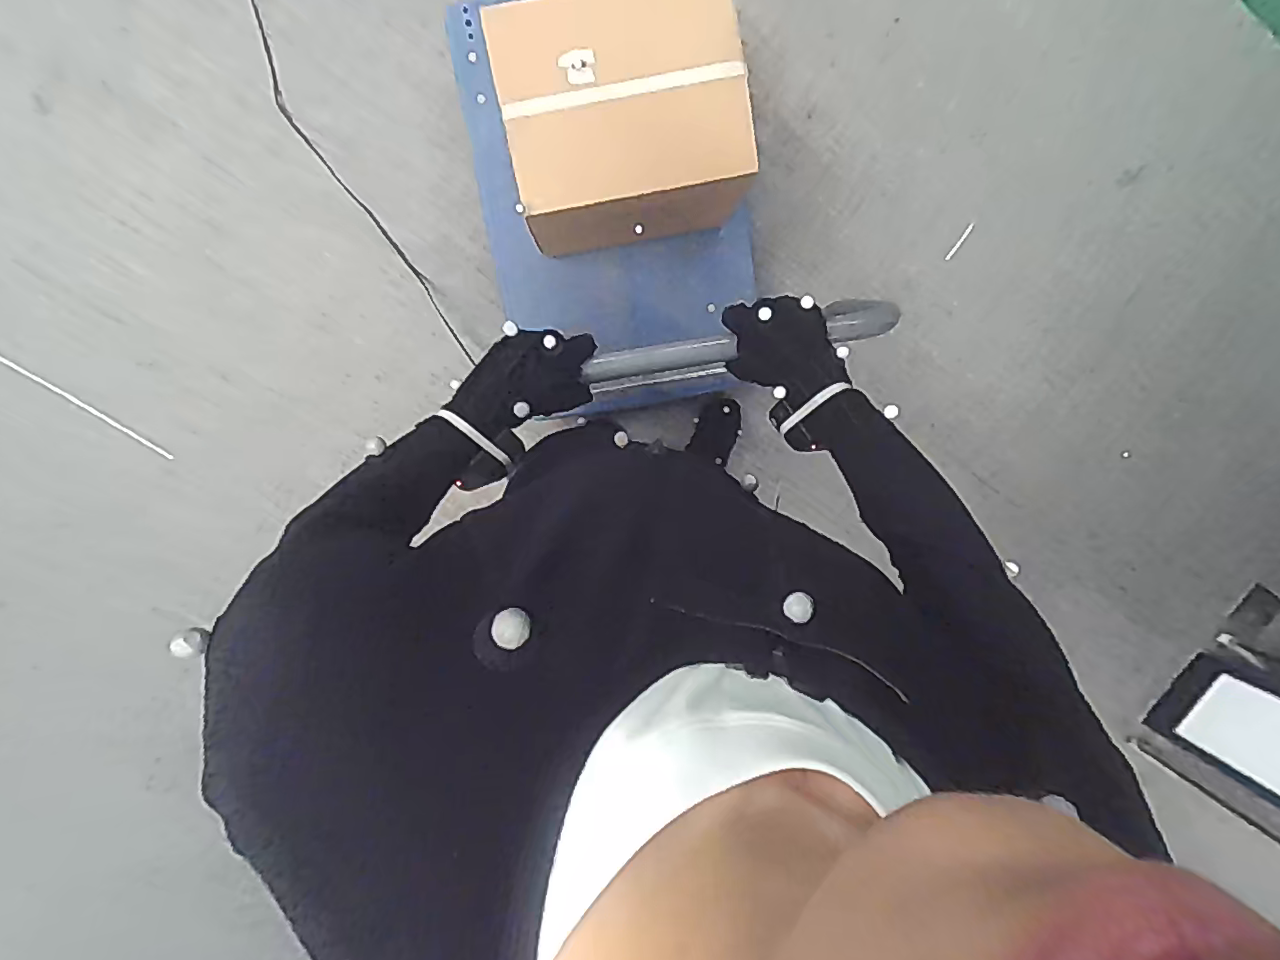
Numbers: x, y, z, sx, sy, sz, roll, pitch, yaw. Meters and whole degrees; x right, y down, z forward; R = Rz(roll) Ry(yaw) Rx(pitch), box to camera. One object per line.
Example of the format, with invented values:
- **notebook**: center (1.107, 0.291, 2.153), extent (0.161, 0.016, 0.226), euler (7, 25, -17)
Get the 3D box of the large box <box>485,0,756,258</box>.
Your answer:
- **large box**: center (-0.032, -0.653, 1.037), extent (0.408, 0.320, 0.320), euler (-12, 100, -1)
